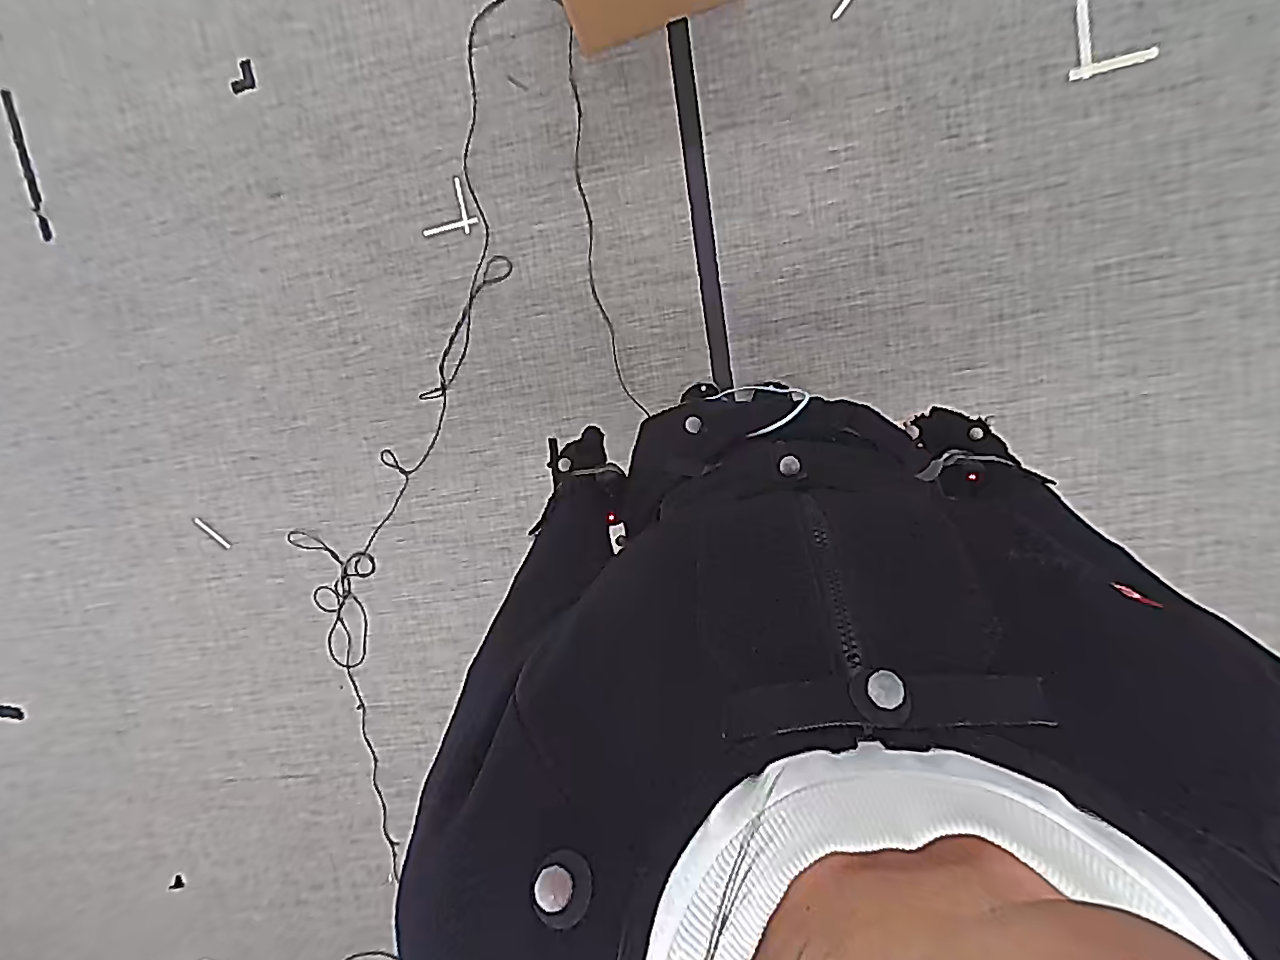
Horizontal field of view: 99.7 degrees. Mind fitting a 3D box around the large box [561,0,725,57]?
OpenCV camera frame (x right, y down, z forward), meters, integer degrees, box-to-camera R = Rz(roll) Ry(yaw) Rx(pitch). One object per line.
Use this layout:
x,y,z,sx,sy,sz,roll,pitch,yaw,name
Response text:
-0.011,-1.183,1.109,0.408,0.320,0.320,-15,99,8,large box
